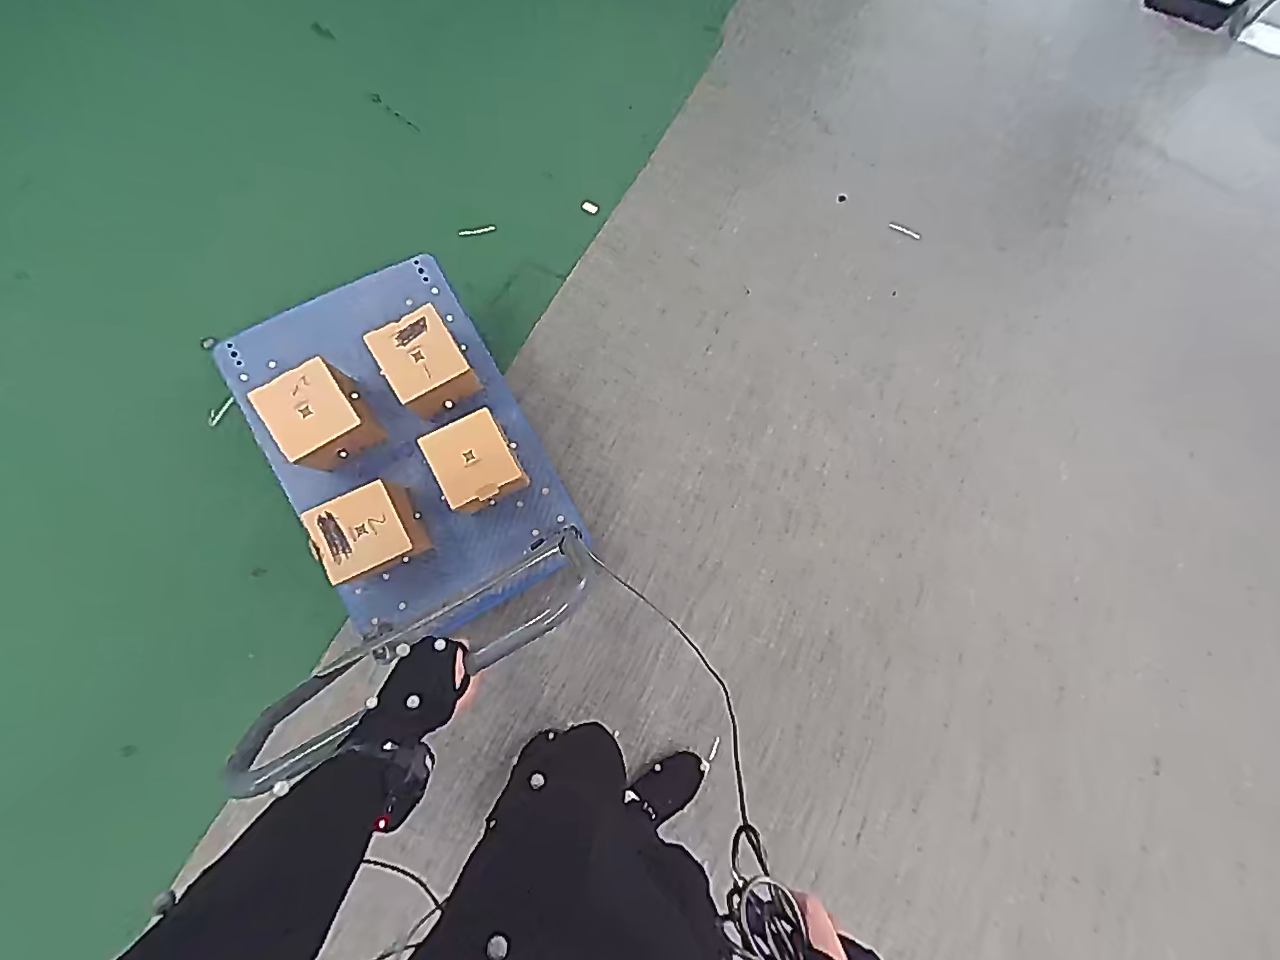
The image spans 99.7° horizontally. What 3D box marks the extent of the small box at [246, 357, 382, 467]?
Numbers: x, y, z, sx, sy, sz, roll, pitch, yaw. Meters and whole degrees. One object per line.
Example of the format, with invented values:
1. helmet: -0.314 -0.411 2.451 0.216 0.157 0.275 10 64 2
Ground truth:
1. small box: -0.712 -0.141 1.206 0.168 0.176 0.179 -33 89 -10

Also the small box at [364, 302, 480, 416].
1. small box: -0.493 -0.269 1.246 0.168 0.176 0.179 -31 90 -8

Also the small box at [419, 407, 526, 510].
1. small box: -0.375 -0.041 1.240 0.168 0.176 0.179 -28 89 -9
